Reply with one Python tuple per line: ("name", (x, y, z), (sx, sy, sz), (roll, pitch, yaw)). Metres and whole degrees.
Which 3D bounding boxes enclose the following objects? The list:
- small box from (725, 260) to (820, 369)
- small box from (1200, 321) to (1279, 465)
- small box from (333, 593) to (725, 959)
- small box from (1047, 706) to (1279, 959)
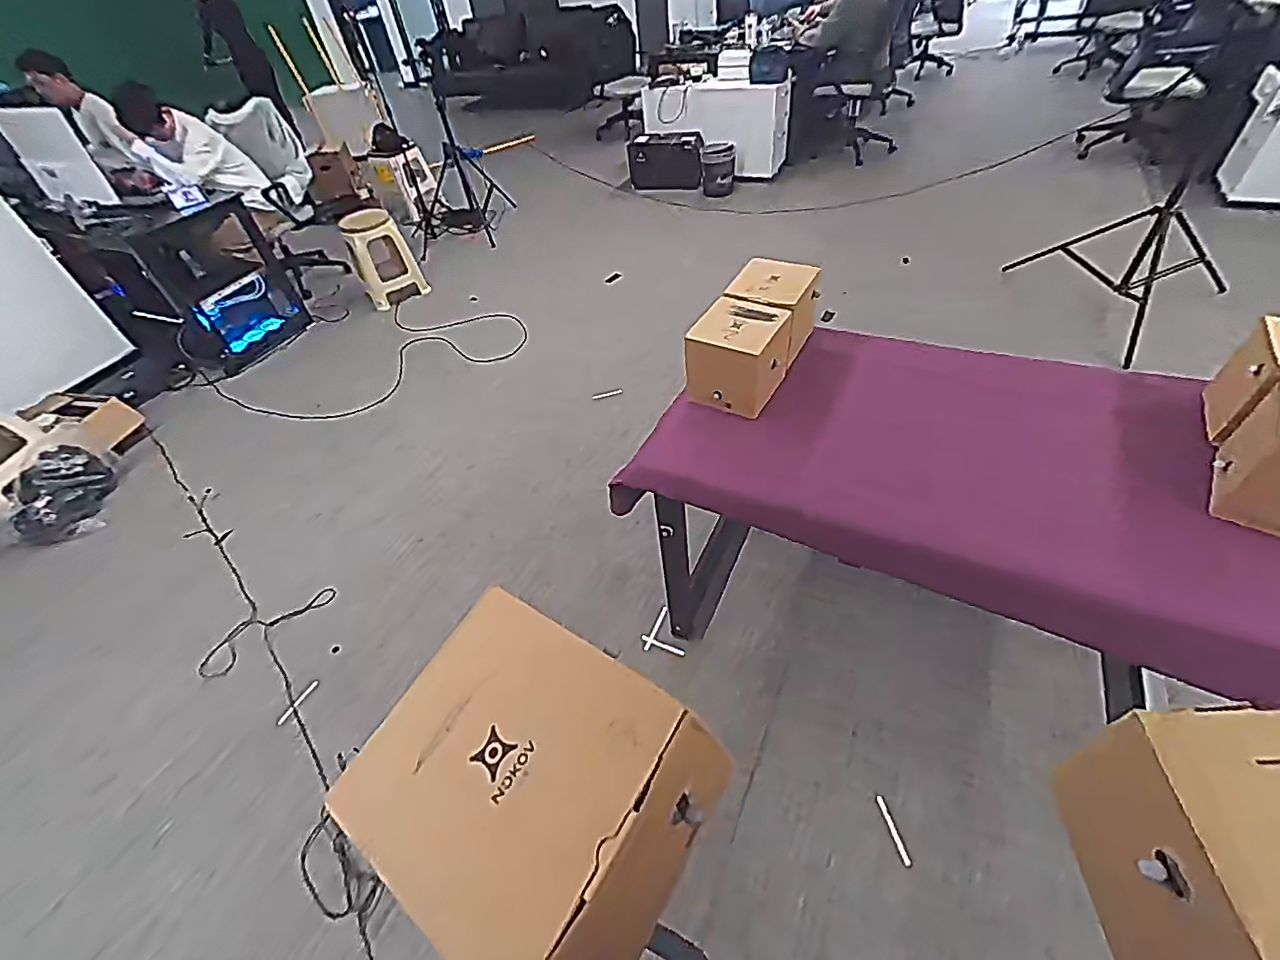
("small box", (0.306, -0.390, 1.274), (0.168, 0.176, 0.179), (20, 53, 25))
("small box", (1.120, -0.143, 0.928), (0.168, 0.176, 0.179), (20, 52, 24))
("small box", (-0.058, 0.214, 0.382), (0.179, 0.176, 0.168), (20, 62, 32))
("small box", (0.382, 0.244, 0.312), (0.168, 0.176, 0.179), (-7, 51, 11))
